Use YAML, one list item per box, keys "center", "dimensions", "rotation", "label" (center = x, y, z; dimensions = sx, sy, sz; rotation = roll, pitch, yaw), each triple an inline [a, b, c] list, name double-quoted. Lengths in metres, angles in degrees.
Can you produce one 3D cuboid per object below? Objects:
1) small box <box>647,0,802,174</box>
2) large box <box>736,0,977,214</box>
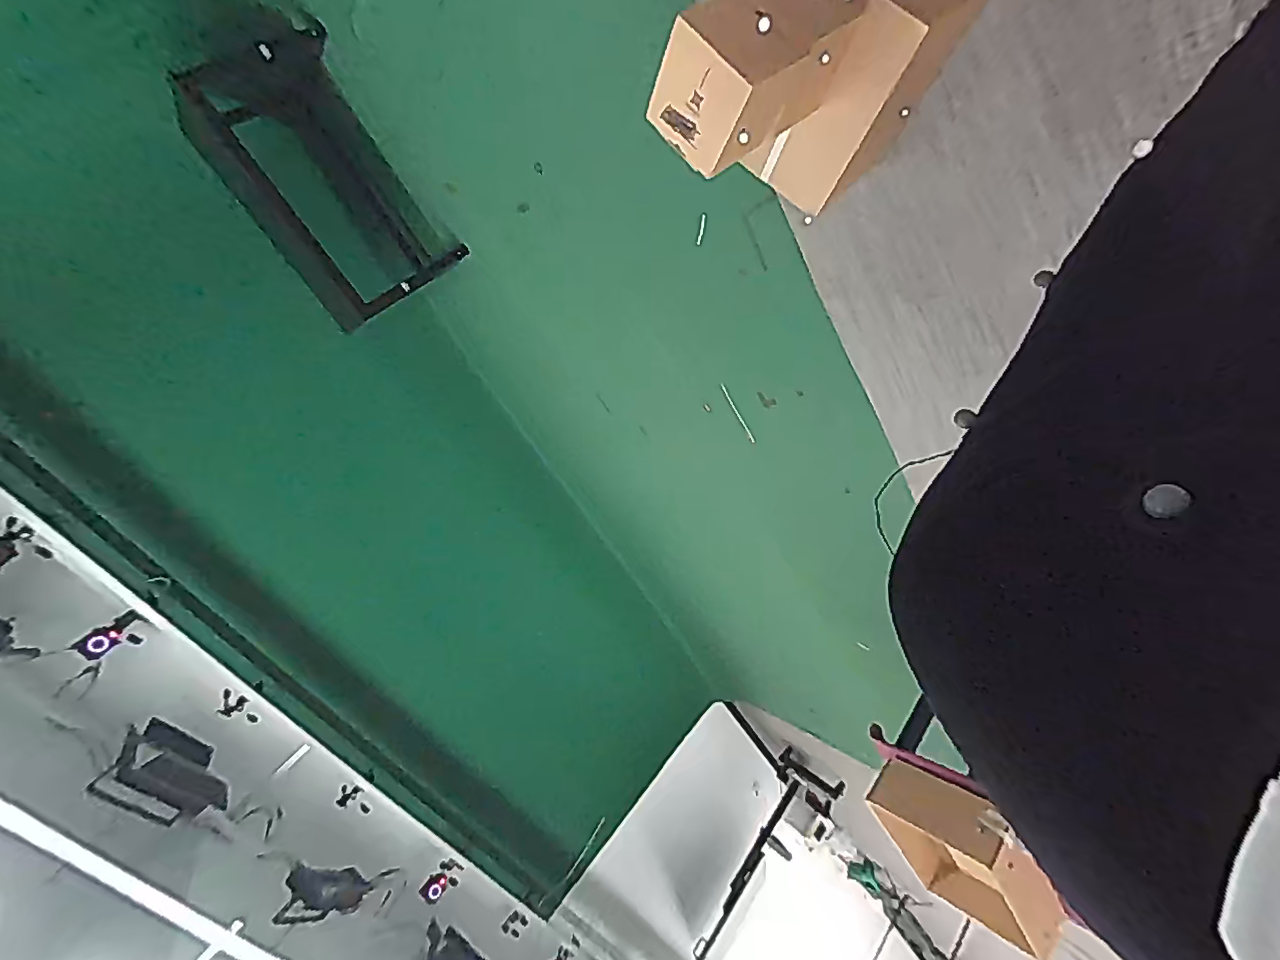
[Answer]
- center: [0.144, -0.681, 0.928]
  dimensions: [0.168, 0.176, 0.179]
  rotation: [45, 156, 1]
  label: "small box"
- center: [0.432, -0.888, 1.151]
  dimensions: [0.320, 0.320, 0.408]
  rotation: [43, 157, 8]
  label: "large box"
